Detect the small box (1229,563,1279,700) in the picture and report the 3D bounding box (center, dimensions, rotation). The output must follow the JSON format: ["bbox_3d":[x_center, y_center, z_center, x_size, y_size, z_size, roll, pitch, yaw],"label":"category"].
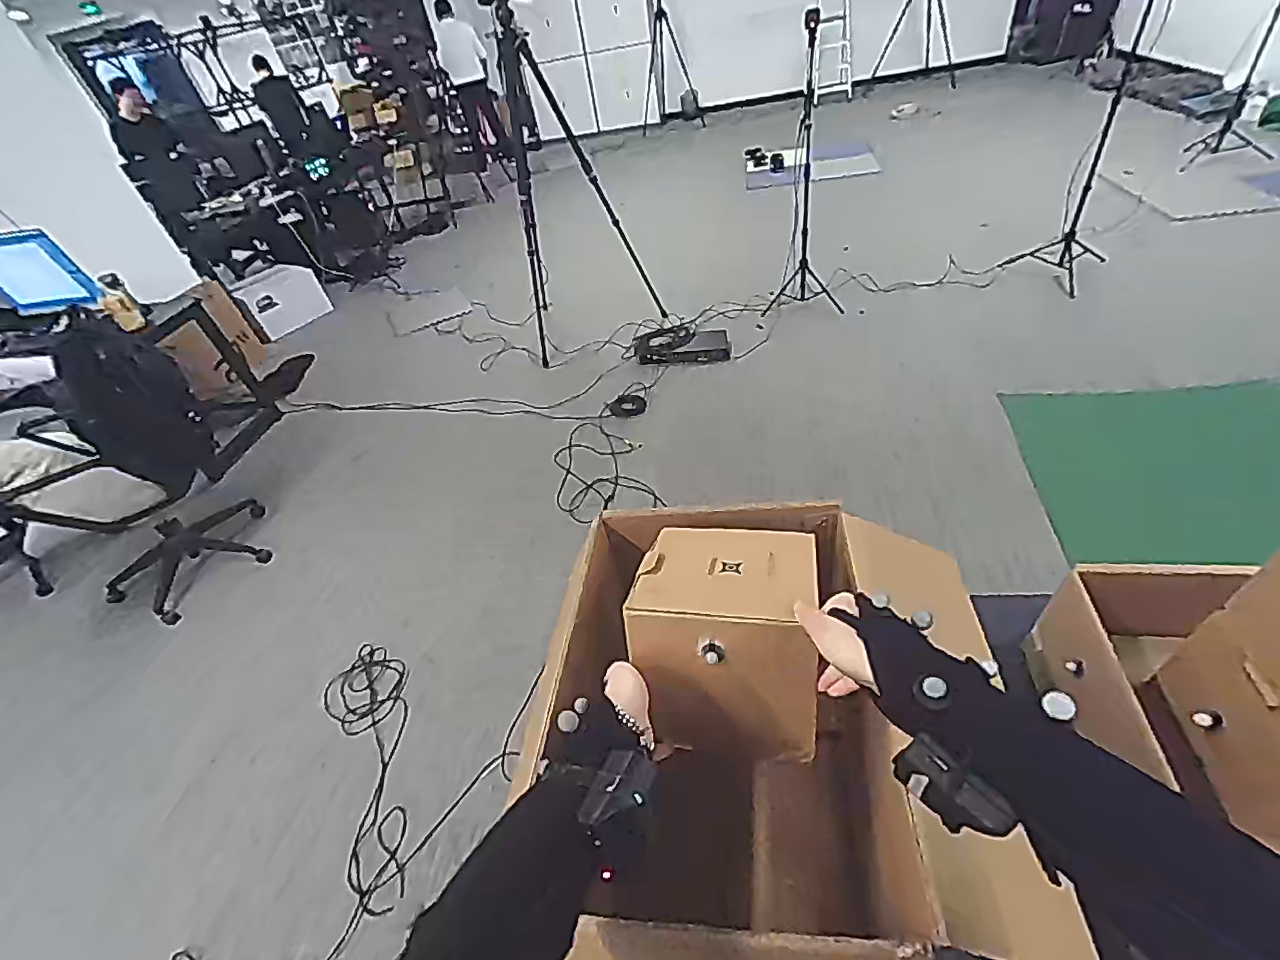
[{"bbox_3d":[0.663,0.140,0.440,0.168,0.176,0.179,-1,45,14],"label":"small box"}]
